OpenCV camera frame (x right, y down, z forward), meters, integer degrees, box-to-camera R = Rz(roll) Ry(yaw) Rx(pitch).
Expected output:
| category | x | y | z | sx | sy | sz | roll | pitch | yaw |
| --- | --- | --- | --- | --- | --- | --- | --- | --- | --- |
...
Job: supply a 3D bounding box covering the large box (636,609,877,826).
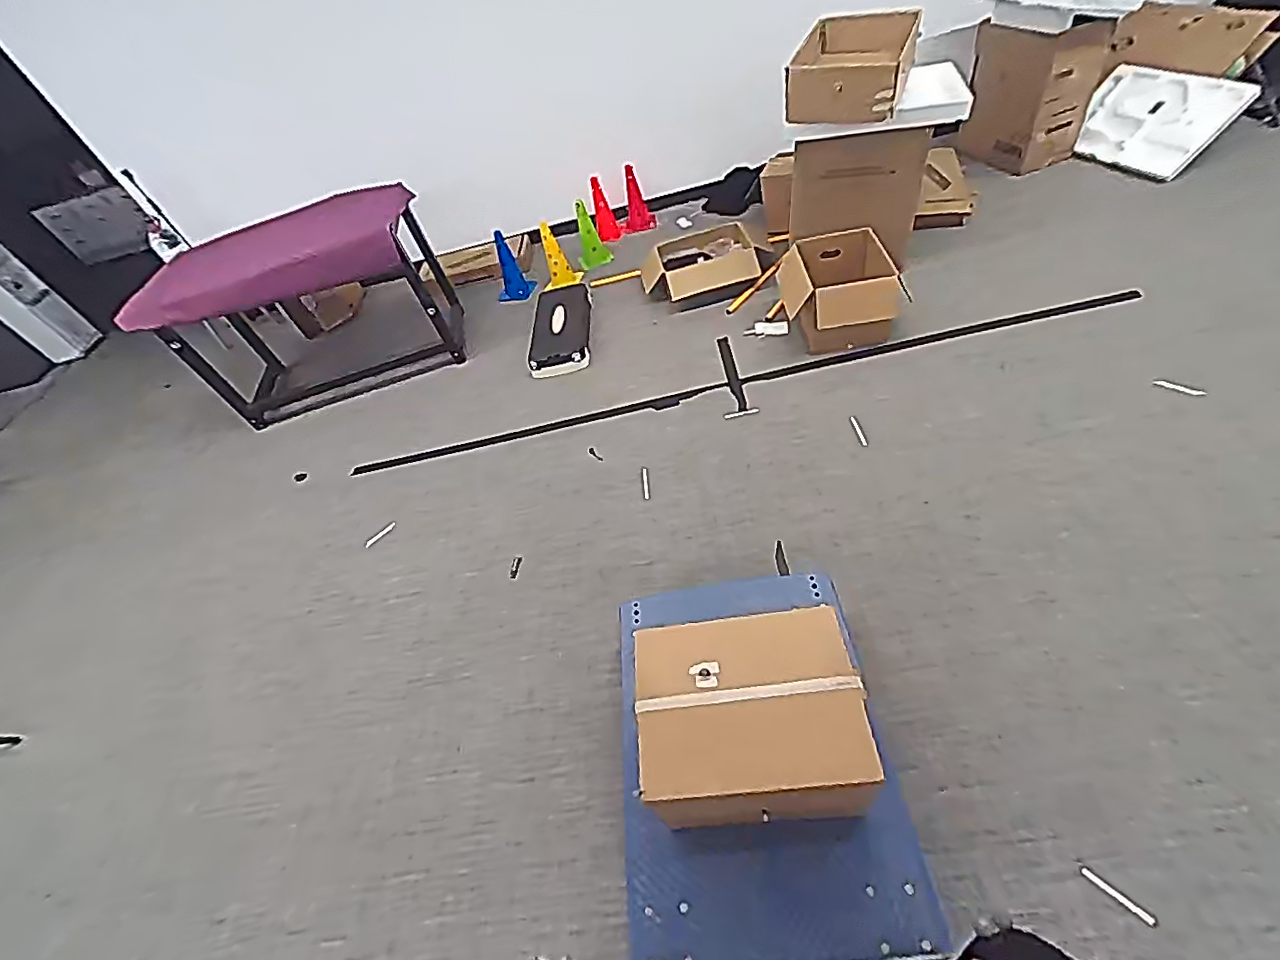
| category | x | y | z | sx | sy | sz | roll | pitch | yaw |
| --- | --- | --- | --- | --- | --- | --- | --- | --- | --- |
| large box | 0.226 | 0.503 | 1.122 | 0.408 | 0.320 | 0.320 | -10 | 47 | 8 |
